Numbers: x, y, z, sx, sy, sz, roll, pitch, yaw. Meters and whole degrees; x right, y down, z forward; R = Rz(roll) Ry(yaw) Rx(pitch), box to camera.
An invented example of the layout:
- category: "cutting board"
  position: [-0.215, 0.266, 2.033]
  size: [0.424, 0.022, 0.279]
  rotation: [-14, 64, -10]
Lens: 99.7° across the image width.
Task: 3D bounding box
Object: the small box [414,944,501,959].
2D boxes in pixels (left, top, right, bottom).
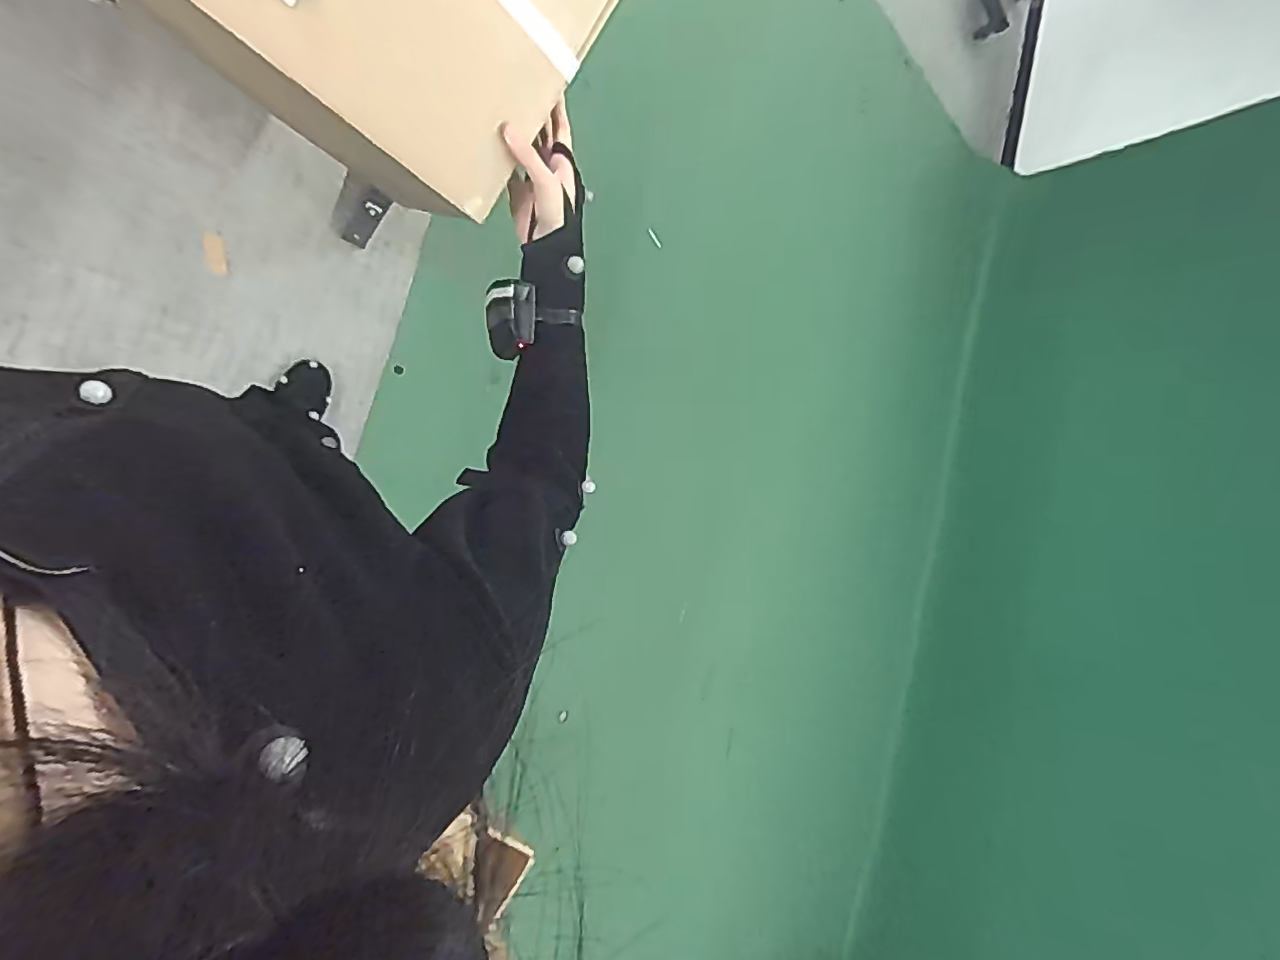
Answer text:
- category: "small box"
  position: [-0.261, 0.795, 0.735]
  size: [0.168, 0.176, 0.179]
  rotation: [43, 68, -31]
